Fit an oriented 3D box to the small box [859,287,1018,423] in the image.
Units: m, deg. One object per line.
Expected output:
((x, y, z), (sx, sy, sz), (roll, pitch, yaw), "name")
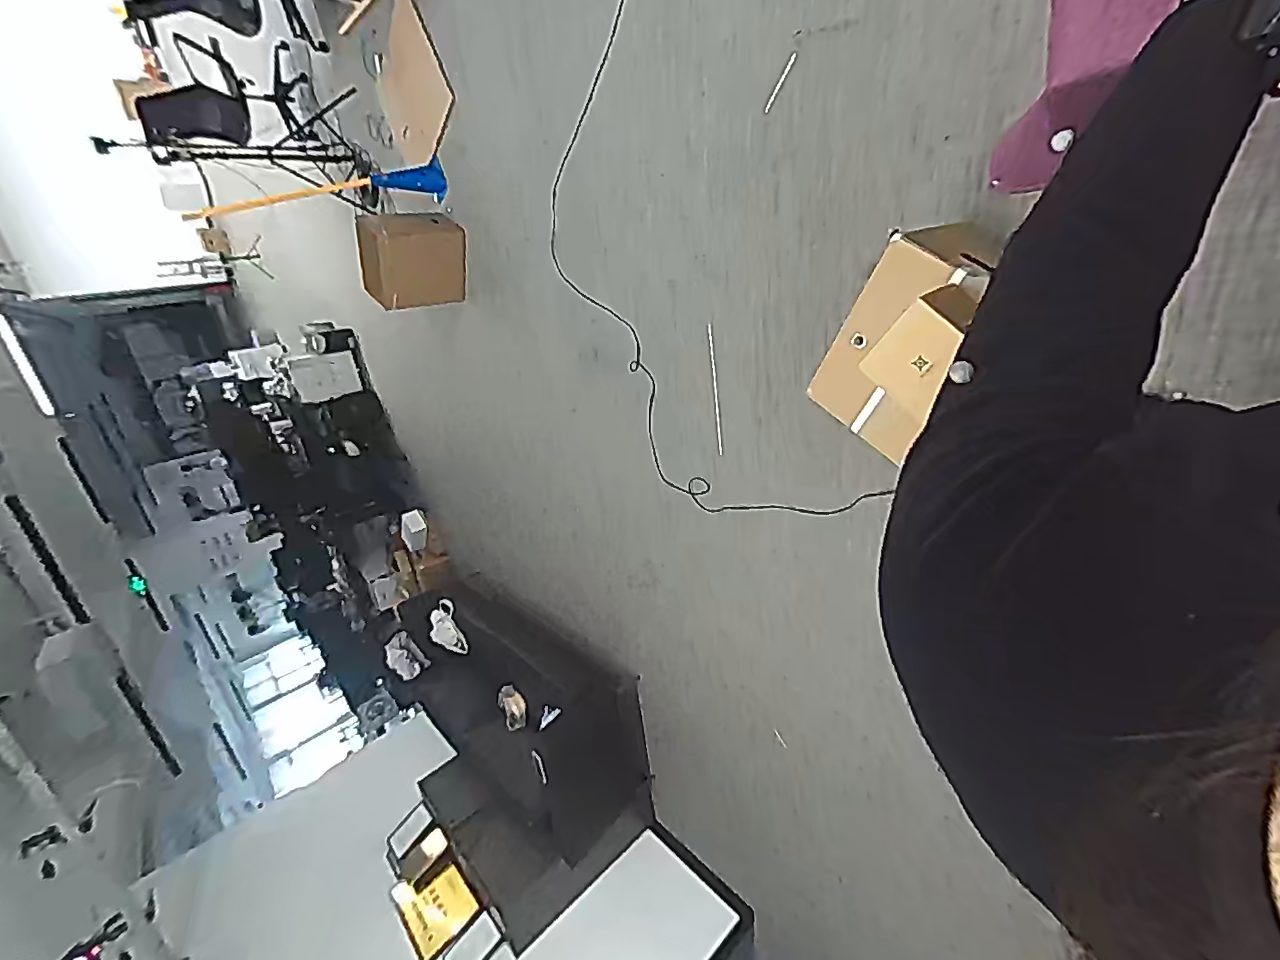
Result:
((0.559, -0.242, 1.015), (0.179, 0.176, 0.168), (48, 141, 15), "small box")
